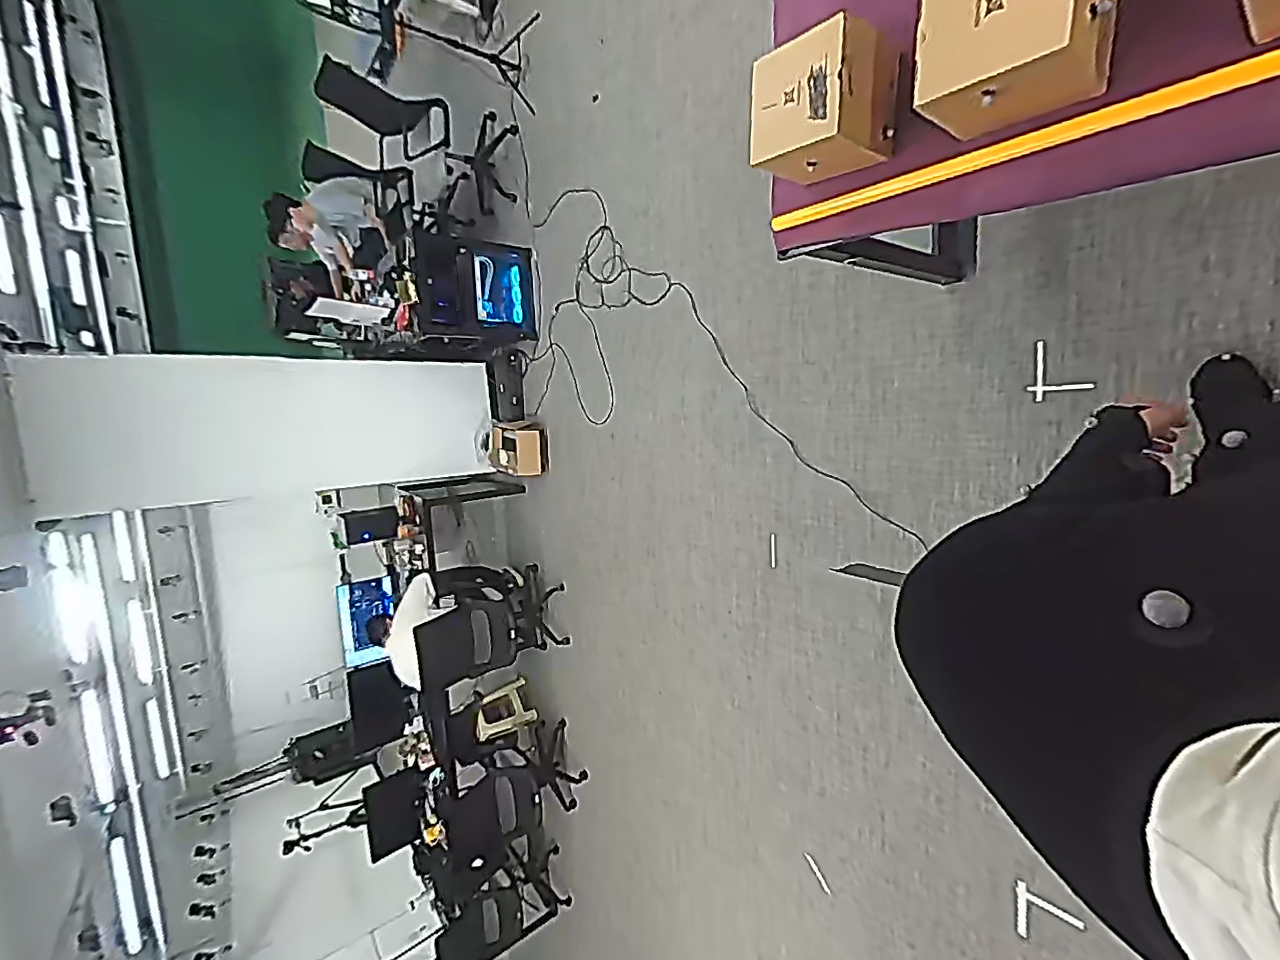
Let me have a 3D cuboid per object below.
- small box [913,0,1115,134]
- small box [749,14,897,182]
[{"bbox_3d":[0.485,-0.582,0.697,0.179,0.176,0.168,12,107,52],"label":"small box"},{"bbox_3d":[0.309,-0.627,0.915,0.179,0.176,0.168,15,109,51],"label":"small box"}]
